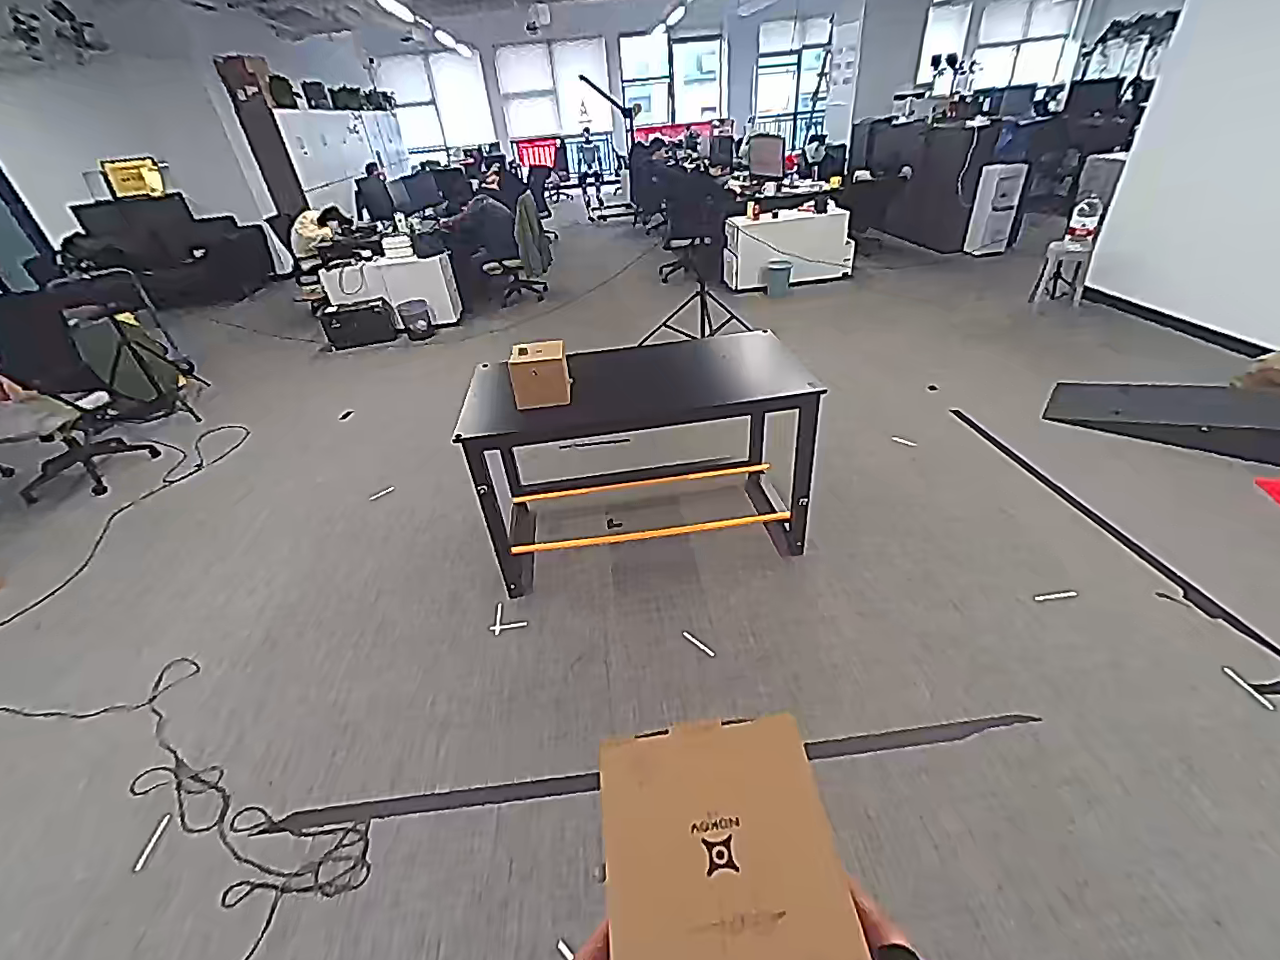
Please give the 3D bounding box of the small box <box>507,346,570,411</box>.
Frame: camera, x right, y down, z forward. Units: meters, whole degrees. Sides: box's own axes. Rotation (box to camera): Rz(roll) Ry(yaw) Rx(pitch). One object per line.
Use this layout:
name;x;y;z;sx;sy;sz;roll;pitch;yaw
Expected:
small box;-0.342;-0.345;1.850;0.179;0.176;0.168;-7;34;-2

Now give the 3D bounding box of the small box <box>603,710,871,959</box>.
small box;0.062;0.320;0.447;0.168;0.176;0.179;-8;43;-2
